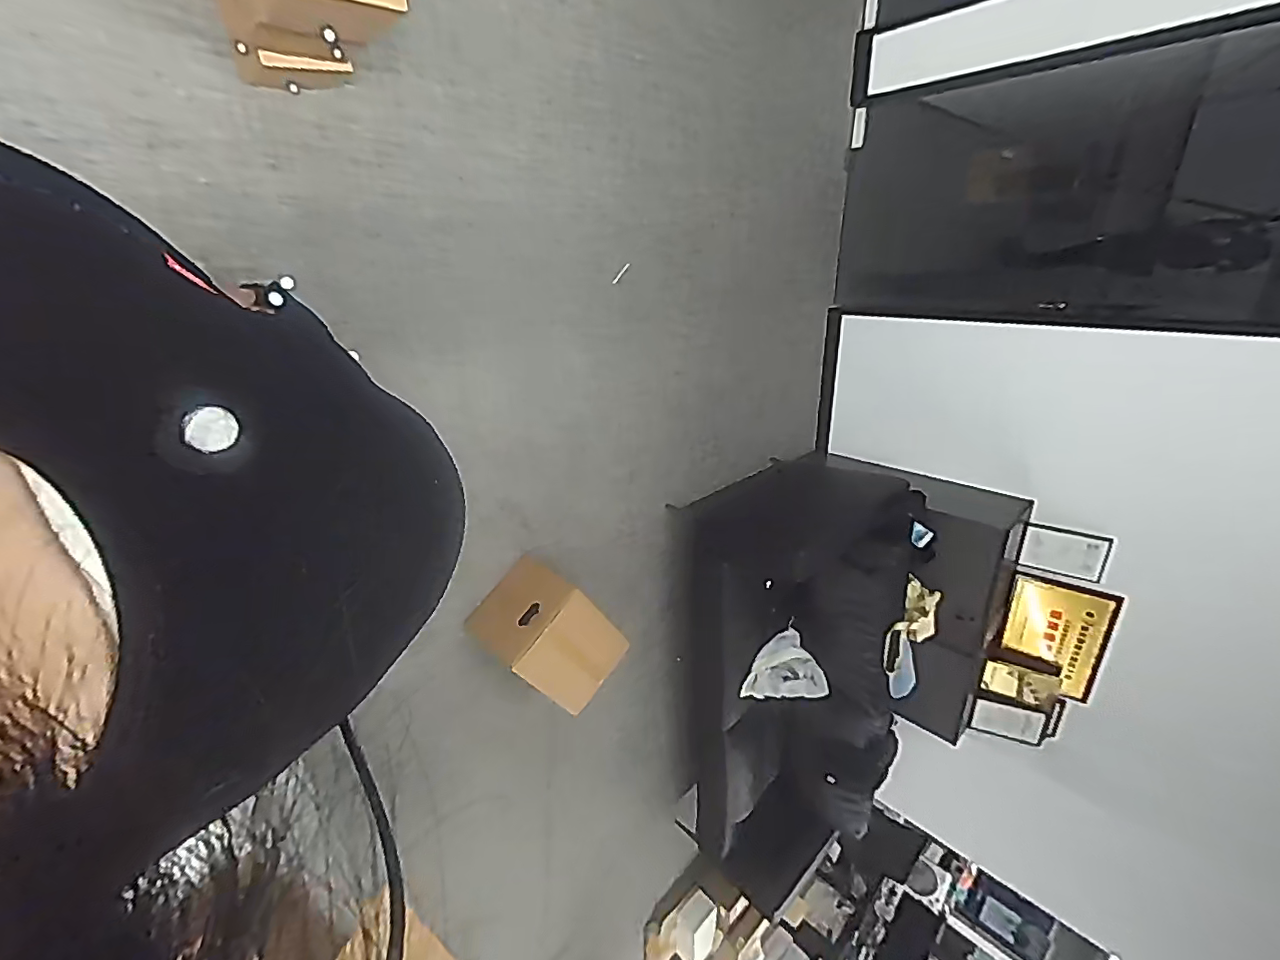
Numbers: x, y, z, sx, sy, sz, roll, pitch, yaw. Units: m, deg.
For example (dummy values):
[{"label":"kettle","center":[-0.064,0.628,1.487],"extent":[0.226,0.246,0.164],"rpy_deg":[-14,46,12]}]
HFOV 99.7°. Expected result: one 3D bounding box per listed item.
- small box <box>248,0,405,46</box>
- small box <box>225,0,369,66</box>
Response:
[{"label":"small box","center":[-0.496,-0.797,0.829],"extent":[0.179,0.176,0.168],"rpy_deg":[-24,121,-39]},{"label":"small box","center":[-0.606,-0.848,0.939],"extent":[0.179,0.176,0.168],"rpy_deg":[-23,120,-38]}]
